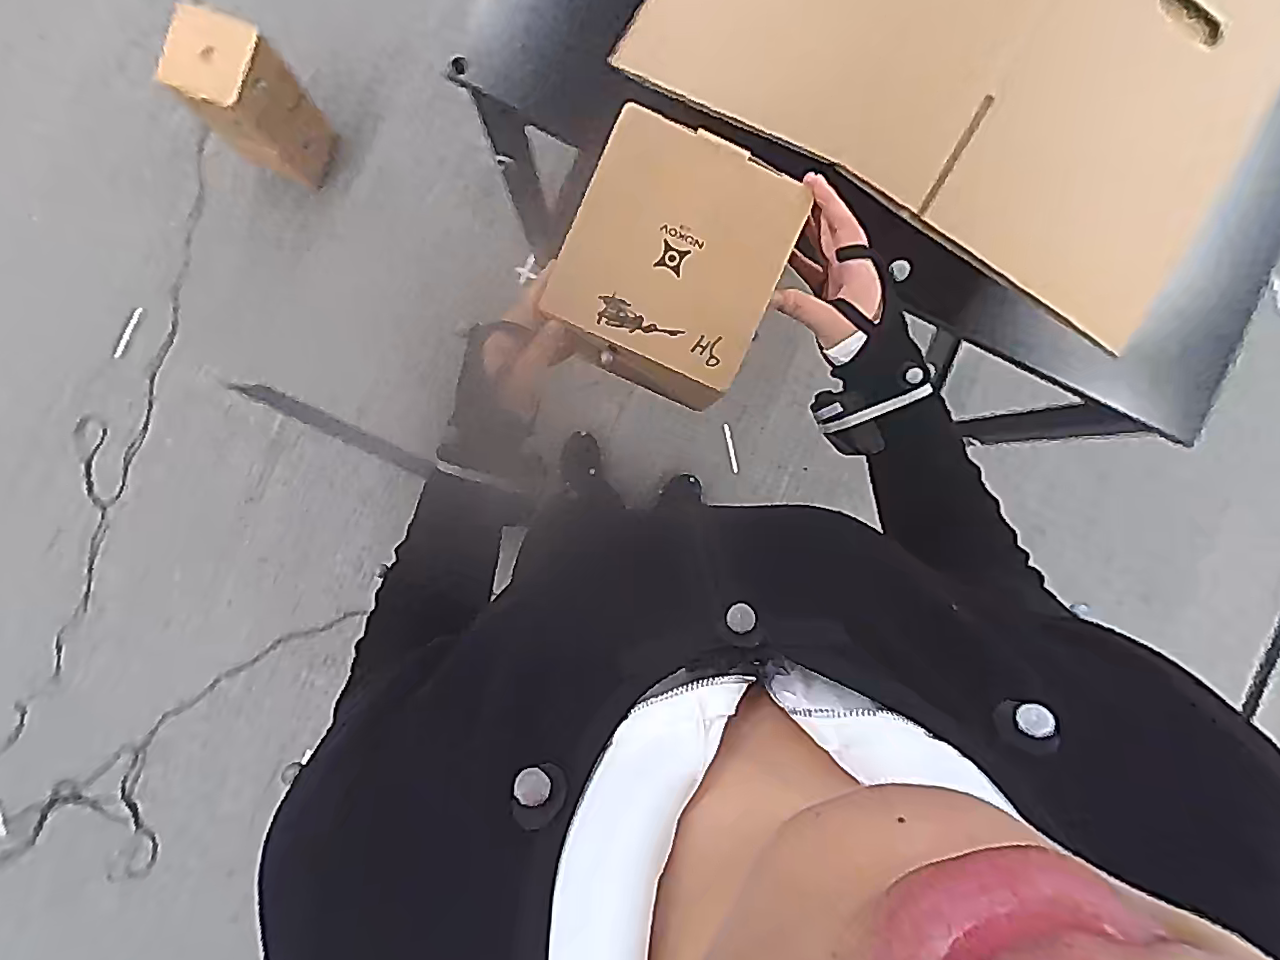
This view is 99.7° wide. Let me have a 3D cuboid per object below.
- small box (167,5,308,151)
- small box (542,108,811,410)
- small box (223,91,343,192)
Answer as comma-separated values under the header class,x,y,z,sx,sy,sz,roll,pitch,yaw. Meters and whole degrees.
class,x,y,z,sx,sy,sz,roll,pitch,yaw
small box,-0.879,-0.878,1.202,0.168,0.176,0.179,18,89,-4
small box,0.027,-0.182,0.504,0.168,0.176,0.179,23,91,-1
small box,-0.888,-0.874,1.364,0.168,0.176,0.179,22,90,-2
